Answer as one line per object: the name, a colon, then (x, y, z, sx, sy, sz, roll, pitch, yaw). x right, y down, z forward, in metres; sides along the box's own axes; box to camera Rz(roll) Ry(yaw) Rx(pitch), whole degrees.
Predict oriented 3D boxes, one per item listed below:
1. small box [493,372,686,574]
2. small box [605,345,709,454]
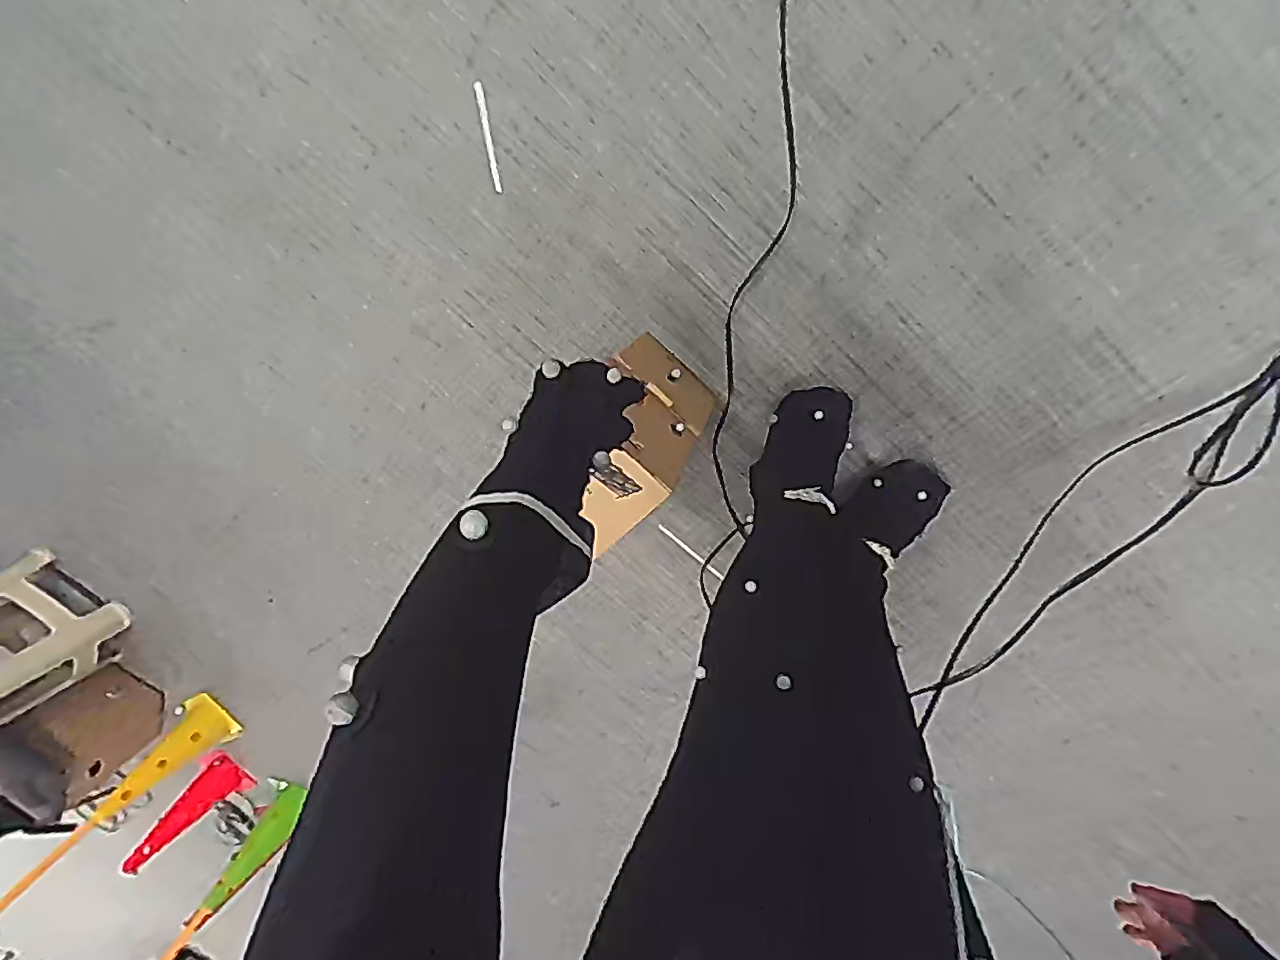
small box: (-0.055, -0.016, 0.719, 0.168, 0.176, 0.179, 43, 121, -8)
small box: (-0.007, -0.091, 0.861, 0.168, 0.176, 0.179, 42, 119, -4)
